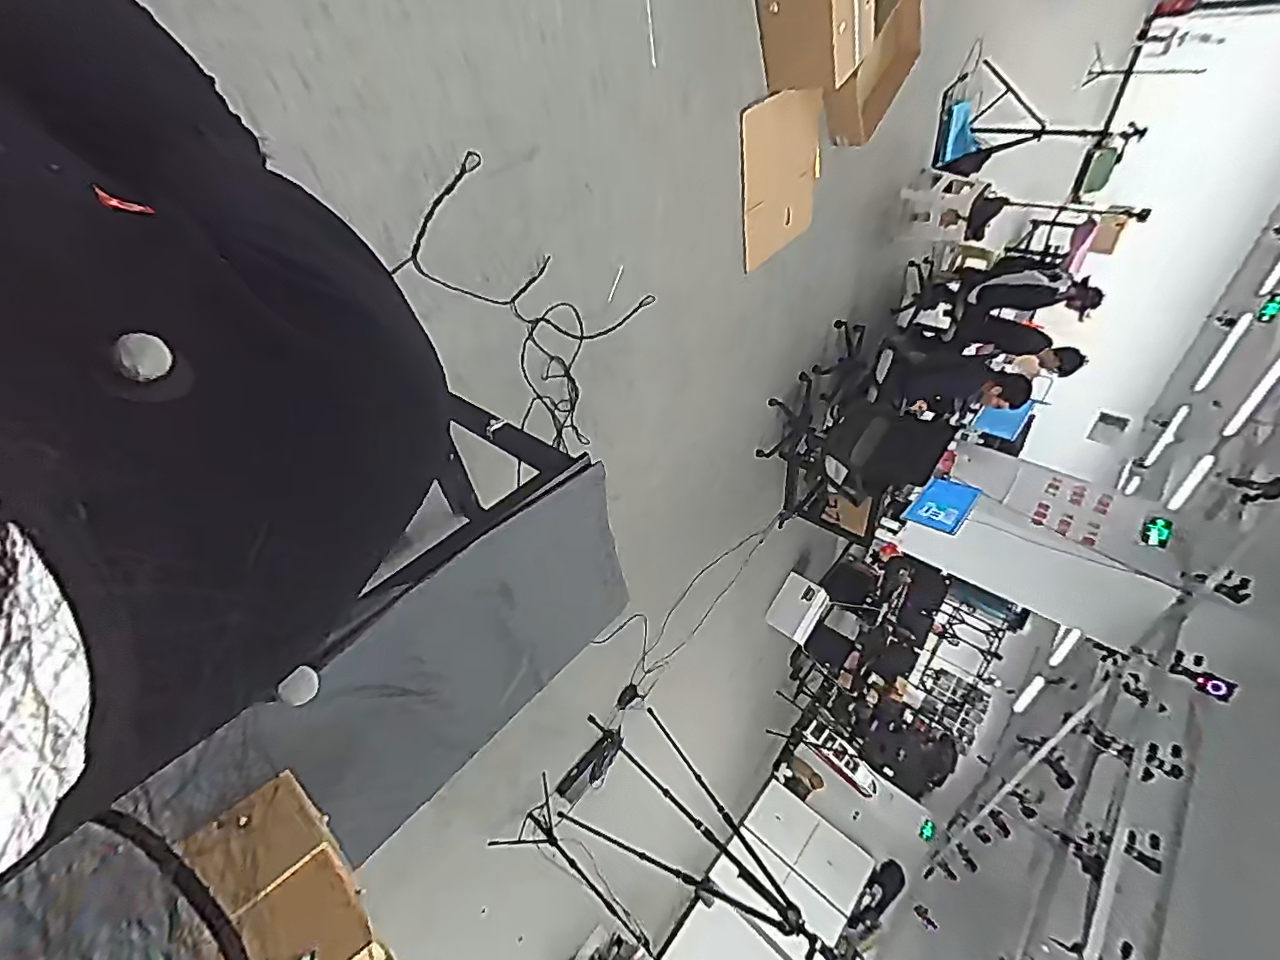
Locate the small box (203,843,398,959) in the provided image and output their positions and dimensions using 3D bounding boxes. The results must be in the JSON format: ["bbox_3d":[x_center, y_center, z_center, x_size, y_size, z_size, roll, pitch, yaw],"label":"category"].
[{"bbox_3d":[-0.498,0.695,0.803,0.179,0.176,0.168,-30,135,-37],"label":"small box"}]
